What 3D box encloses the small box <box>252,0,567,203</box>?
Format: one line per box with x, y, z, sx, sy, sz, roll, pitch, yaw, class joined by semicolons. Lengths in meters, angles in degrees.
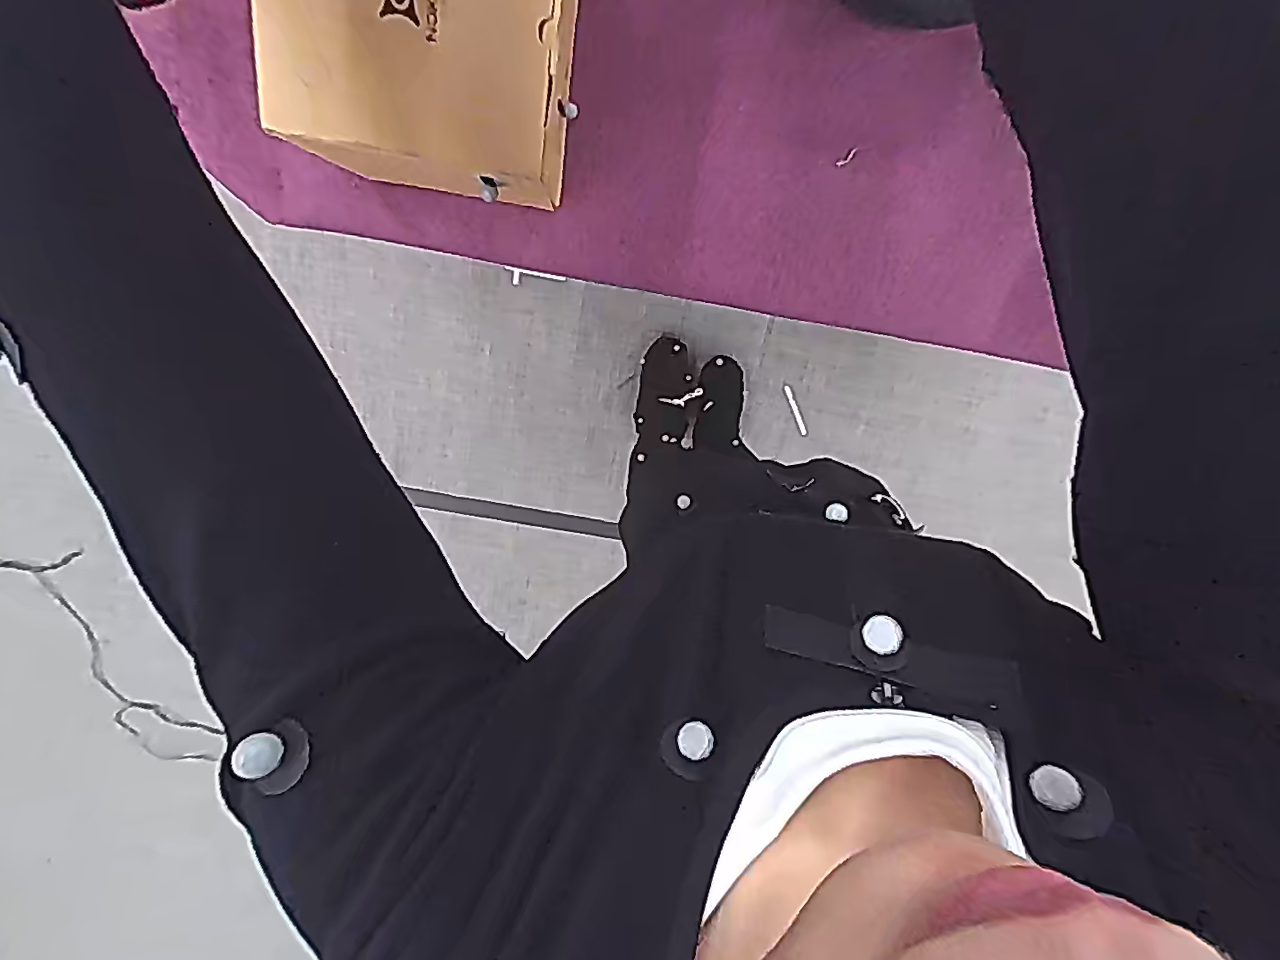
-0.151;-0.316;0.402;0.179;0.176;0.168;5;110;-9;small box
